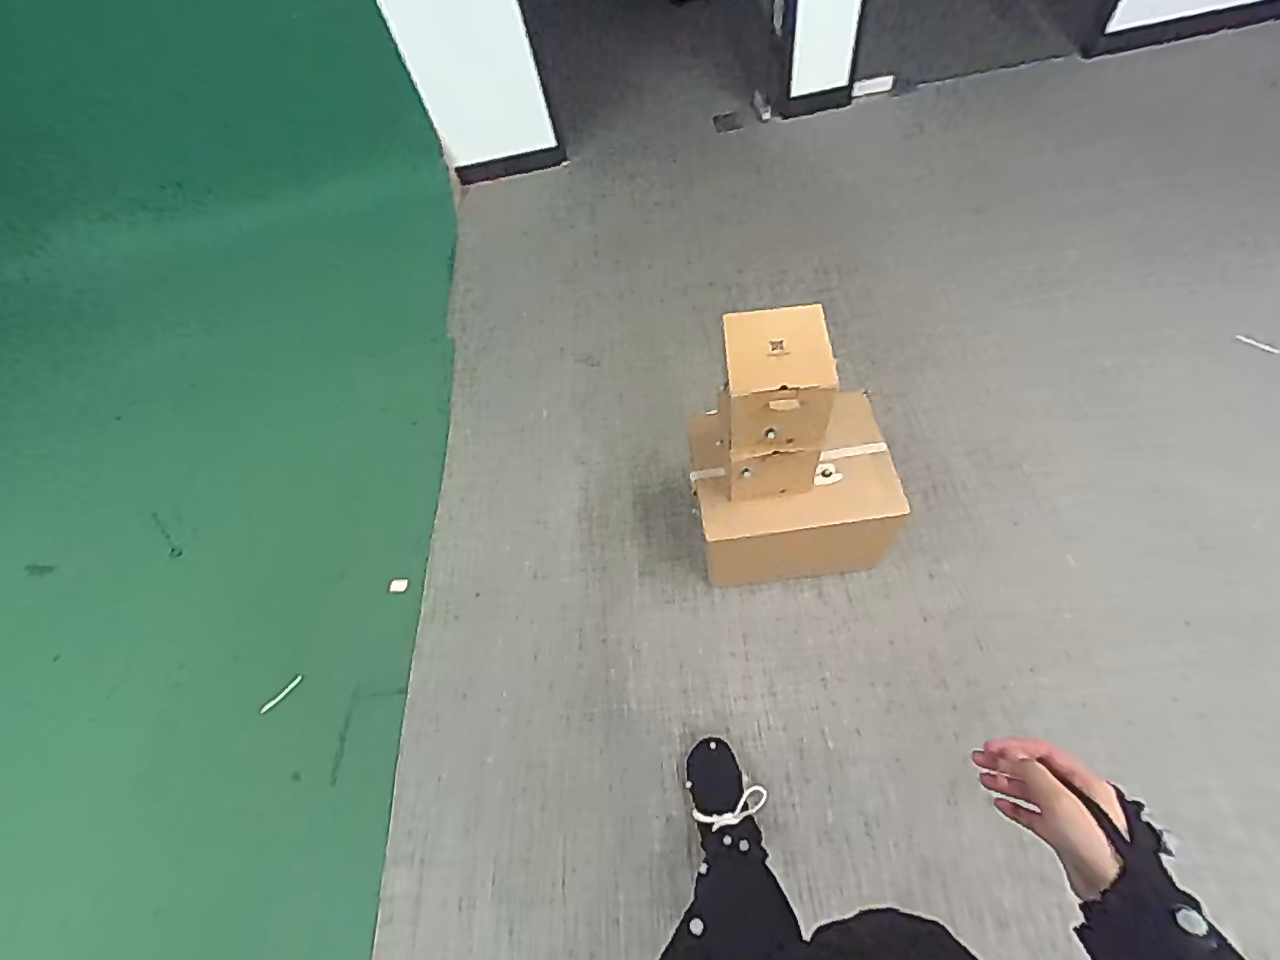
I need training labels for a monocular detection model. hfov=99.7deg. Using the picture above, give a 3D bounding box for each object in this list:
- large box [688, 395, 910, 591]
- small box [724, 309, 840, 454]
[{"bbox_3d":[0.337,0.043,1.268,0.408,0.320,0.320,-8,61,4],"label":"large box"},{"bbox_3d":[0.233,-0.165,0.931,0.168,0.176,0.179,-4,60,7],"label":"small box"}]
